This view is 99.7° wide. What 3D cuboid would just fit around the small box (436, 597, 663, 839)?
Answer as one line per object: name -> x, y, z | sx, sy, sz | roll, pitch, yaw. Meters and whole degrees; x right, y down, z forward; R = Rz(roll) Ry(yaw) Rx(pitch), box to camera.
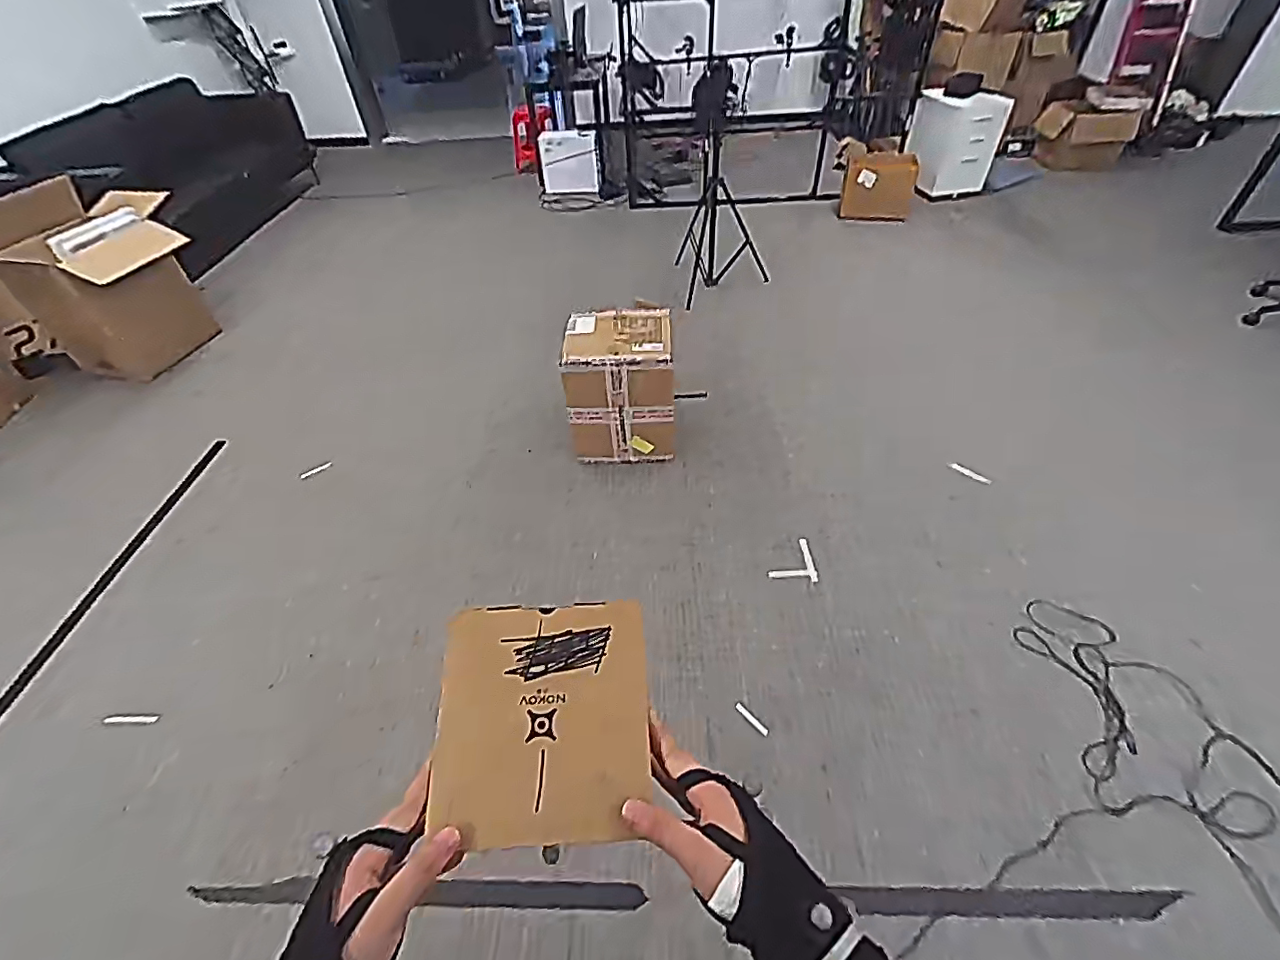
small box -> -0.070, 0.221, 0.499 | 0.168, 0.176, 0.179 | -3, 59, -2
